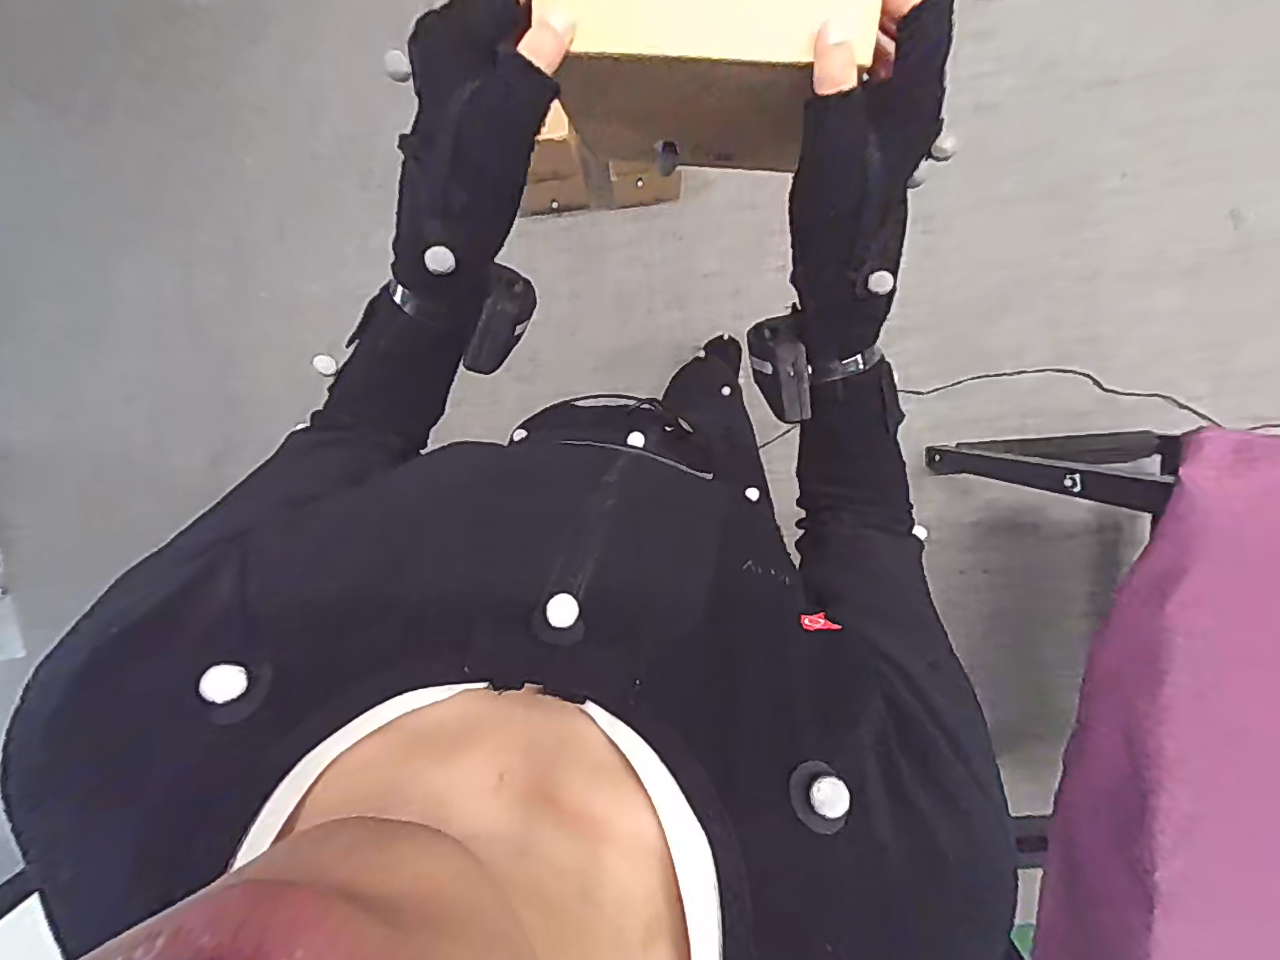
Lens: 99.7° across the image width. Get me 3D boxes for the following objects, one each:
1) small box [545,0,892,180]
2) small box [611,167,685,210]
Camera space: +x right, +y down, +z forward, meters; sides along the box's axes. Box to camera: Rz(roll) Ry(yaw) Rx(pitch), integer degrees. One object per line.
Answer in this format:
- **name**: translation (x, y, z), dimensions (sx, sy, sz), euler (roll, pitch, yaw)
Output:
- **small box**: translation (0.047, -0.302, 0.319), dimensions (0.168, 0.176, 0.179), euler (5, 105, 4)
- **small box**: translation (0.013, -0.771, 1.281), dimensions (0.168, 0.176, 0.179), euler (-7, 97, 3)
